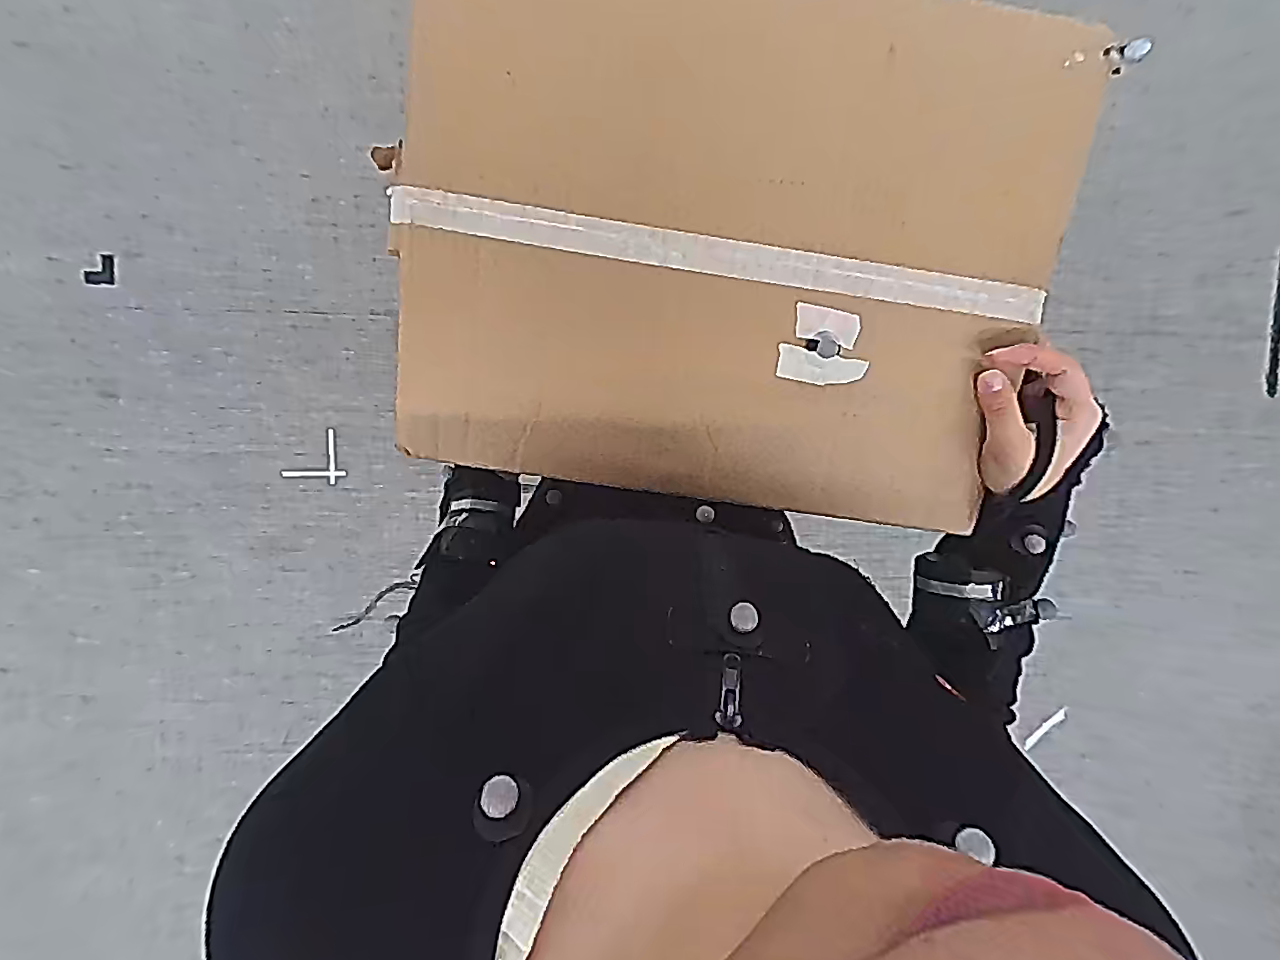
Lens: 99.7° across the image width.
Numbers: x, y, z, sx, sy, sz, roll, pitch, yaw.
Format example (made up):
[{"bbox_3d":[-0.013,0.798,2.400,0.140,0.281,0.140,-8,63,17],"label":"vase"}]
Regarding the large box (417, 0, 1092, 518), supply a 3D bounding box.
[{"bbox_3d":[0.054,-0.174,0.492,0.408,0.320,0.320,7,104,-4],"label":"large box"}]
